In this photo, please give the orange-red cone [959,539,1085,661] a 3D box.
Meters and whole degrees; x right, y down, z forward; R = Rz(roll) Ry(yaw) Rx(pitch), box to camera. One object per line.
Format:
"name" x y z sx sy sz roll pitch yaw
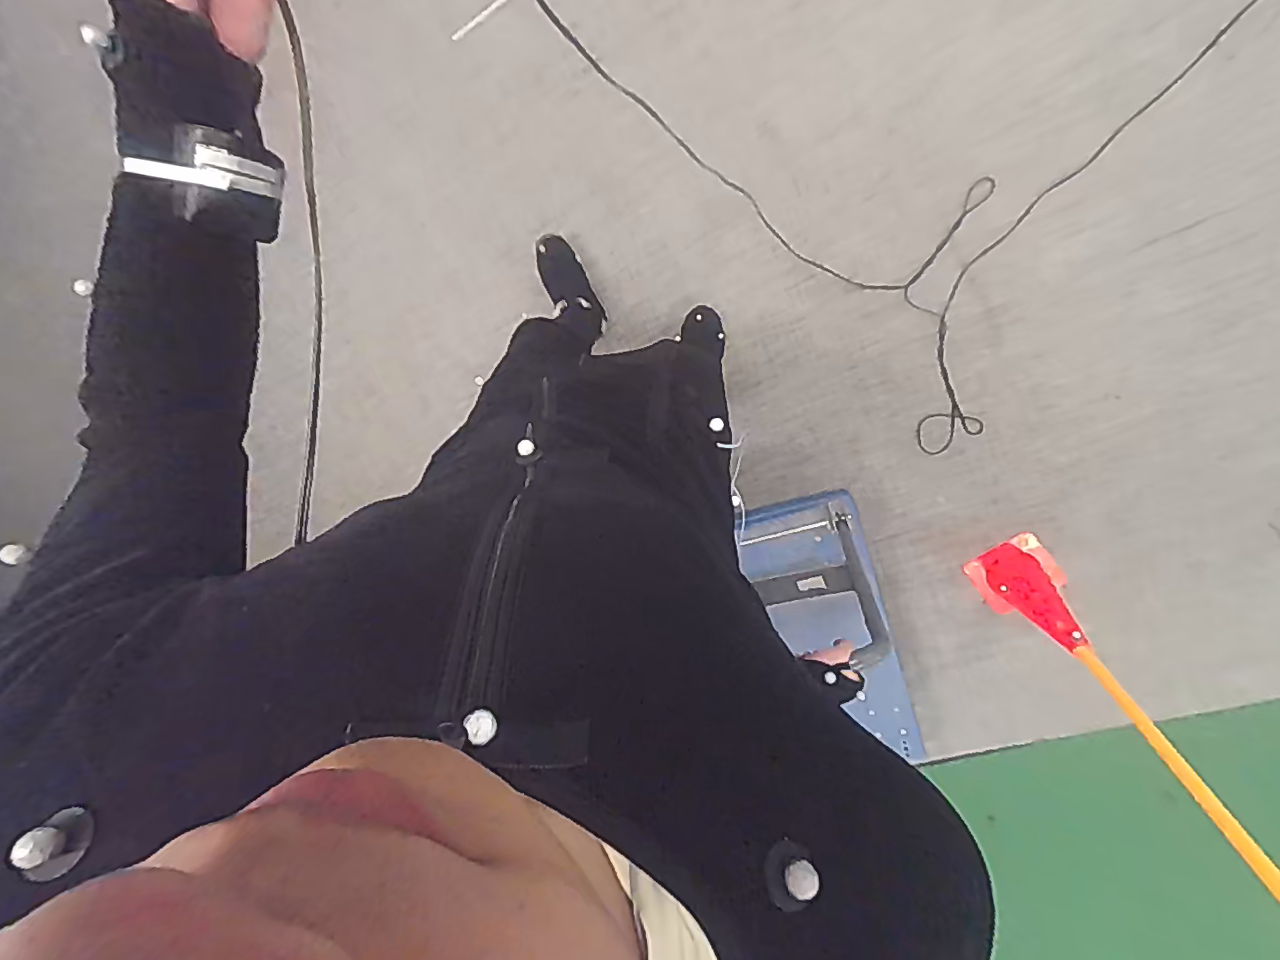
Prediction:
"orange-red cone" 1.012 0.333 1.377 0.199 0.360 0.198 -37 100 19
